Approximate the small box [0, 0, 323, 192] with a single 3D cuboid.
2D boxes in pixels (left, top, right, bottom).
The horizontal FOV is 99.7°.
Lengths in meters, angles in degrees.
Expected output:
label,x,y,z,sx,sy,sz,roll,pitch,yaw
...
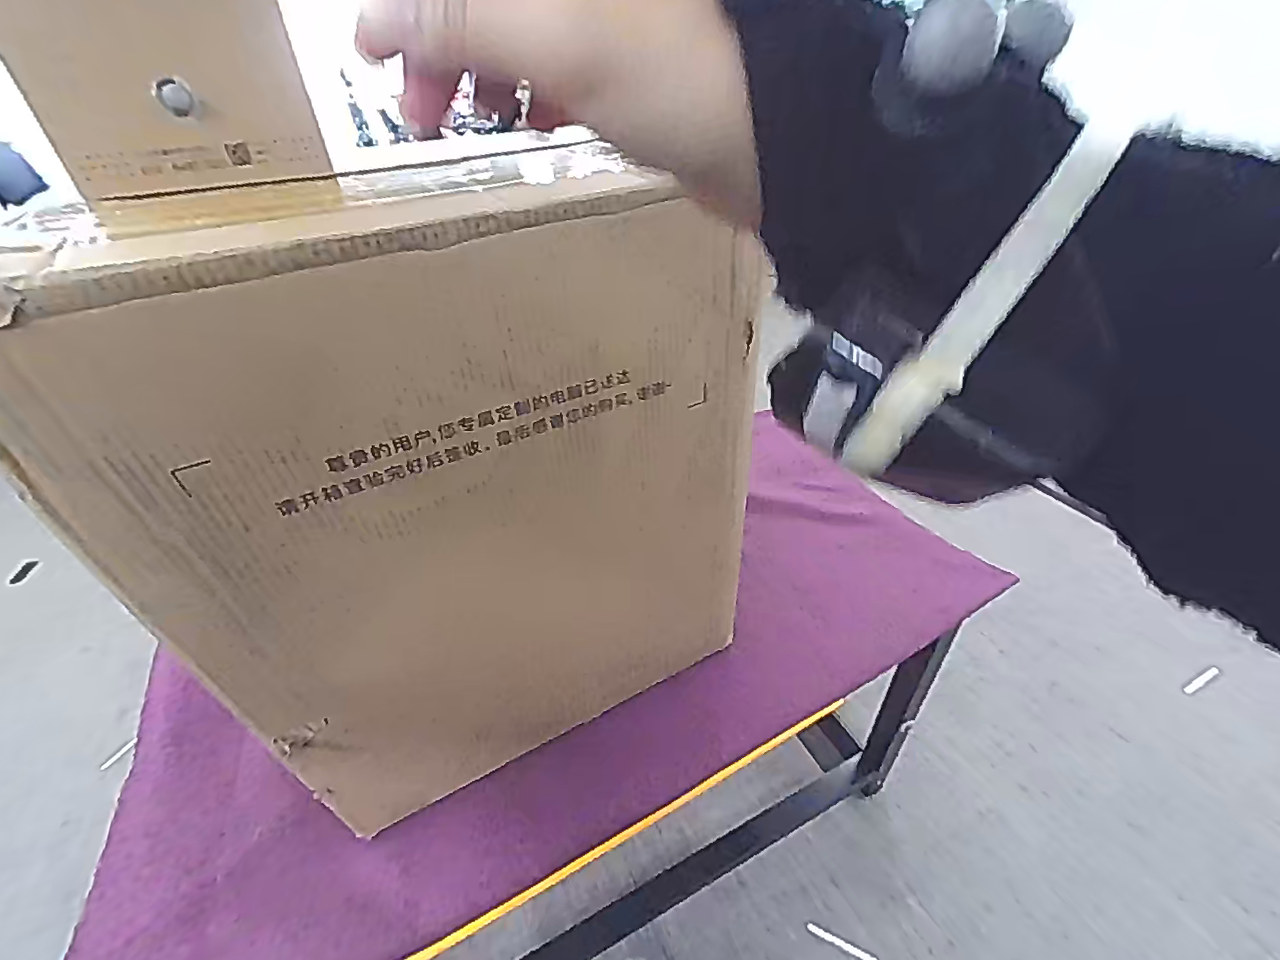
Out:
label,x,y,z,sx,sy,sz,roll,pitch,yaw
small box,-0.366,-0.329,0.415,0.168,0.176,0.179,-20,41,-21
